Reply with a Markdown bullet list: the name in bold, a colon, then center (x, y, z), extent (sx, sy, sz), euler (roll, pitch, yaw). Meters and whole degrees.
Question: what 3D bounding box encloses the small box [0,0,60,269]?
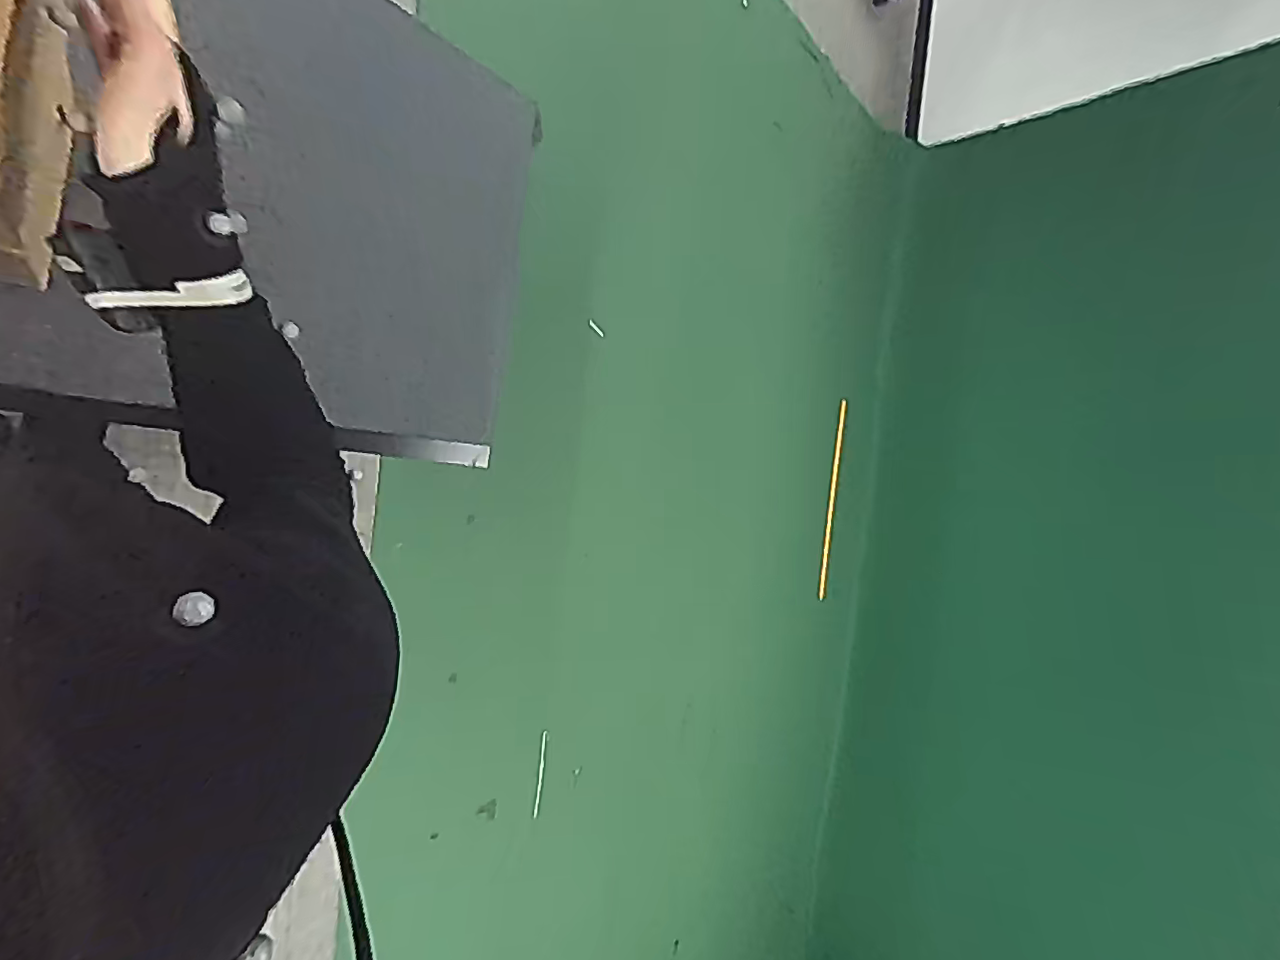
- **small box**: center (-0.569, -0.284, 0.406), extent (0.168, 0.176, 0.179), euler (10, 89, -45)
